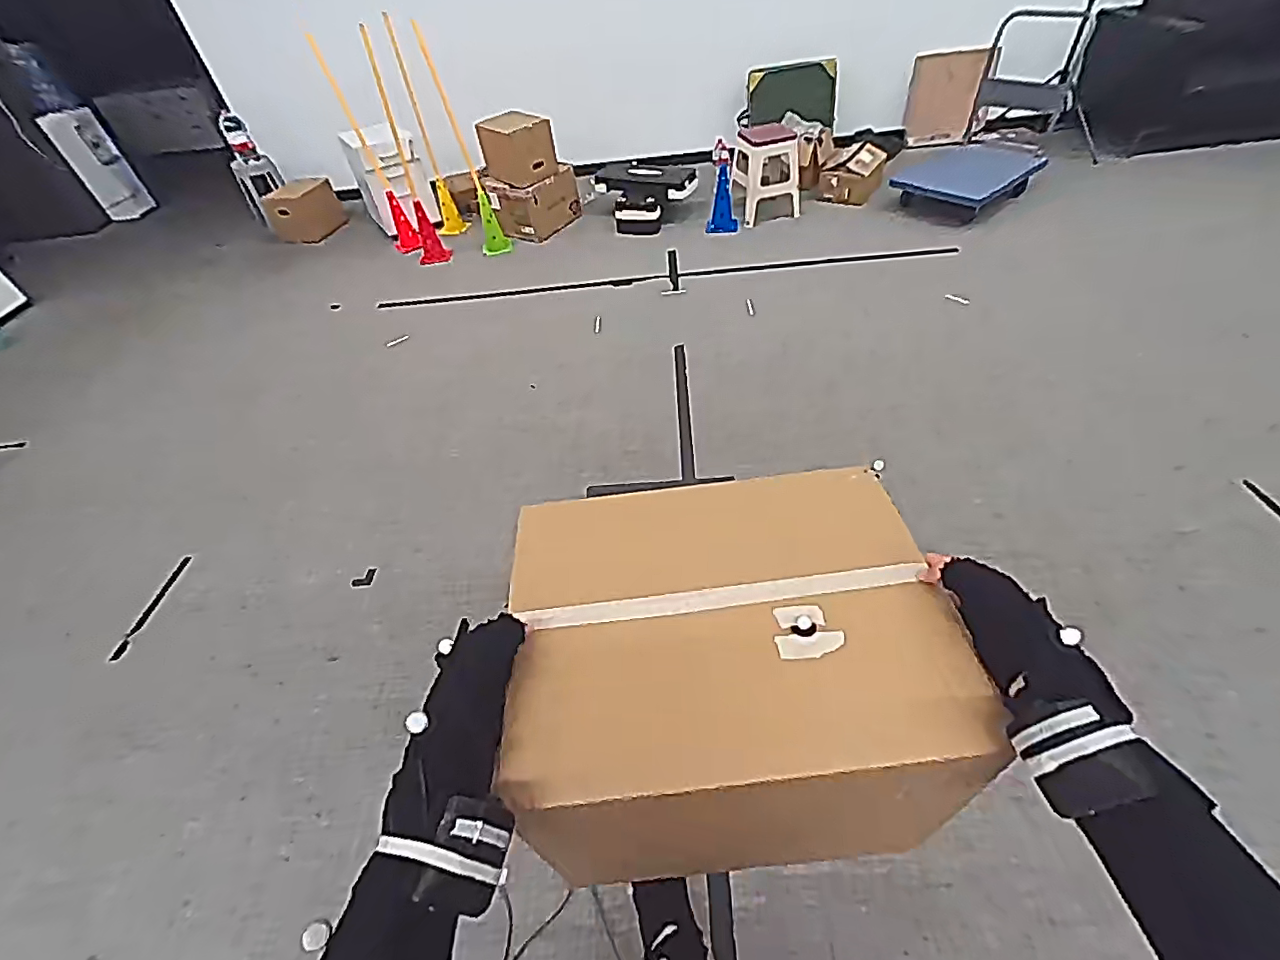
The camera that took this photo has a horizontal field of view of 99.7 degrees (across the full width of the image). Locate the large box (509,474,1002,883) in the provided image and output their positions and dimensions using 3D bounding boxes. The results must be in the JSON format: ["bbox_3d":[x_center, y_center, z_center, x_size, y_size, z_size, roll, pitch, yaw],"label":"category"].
[{"bbox_3d":[0.091,0.229,0.632,0.408,0.320,0.320,-7,44,0],"label":"large box"}]
